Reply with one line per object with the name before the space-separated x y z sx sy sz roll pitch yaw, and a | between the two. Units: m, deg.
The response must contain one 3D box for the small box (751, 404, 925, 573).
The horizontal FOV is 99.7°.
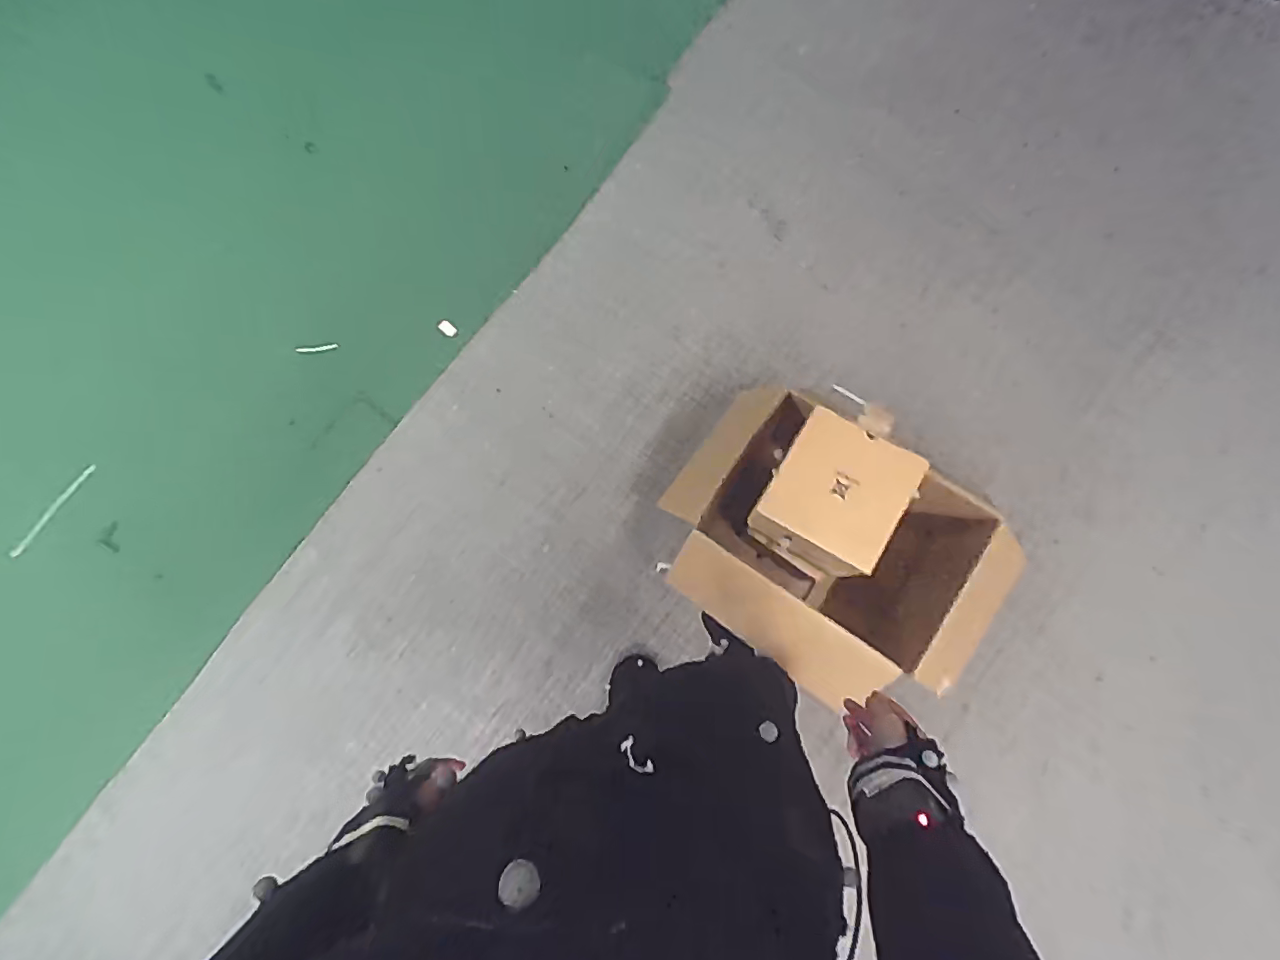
small box | 0.275 0.024 0.794 0.168 0.176 0.179 30 82 12
